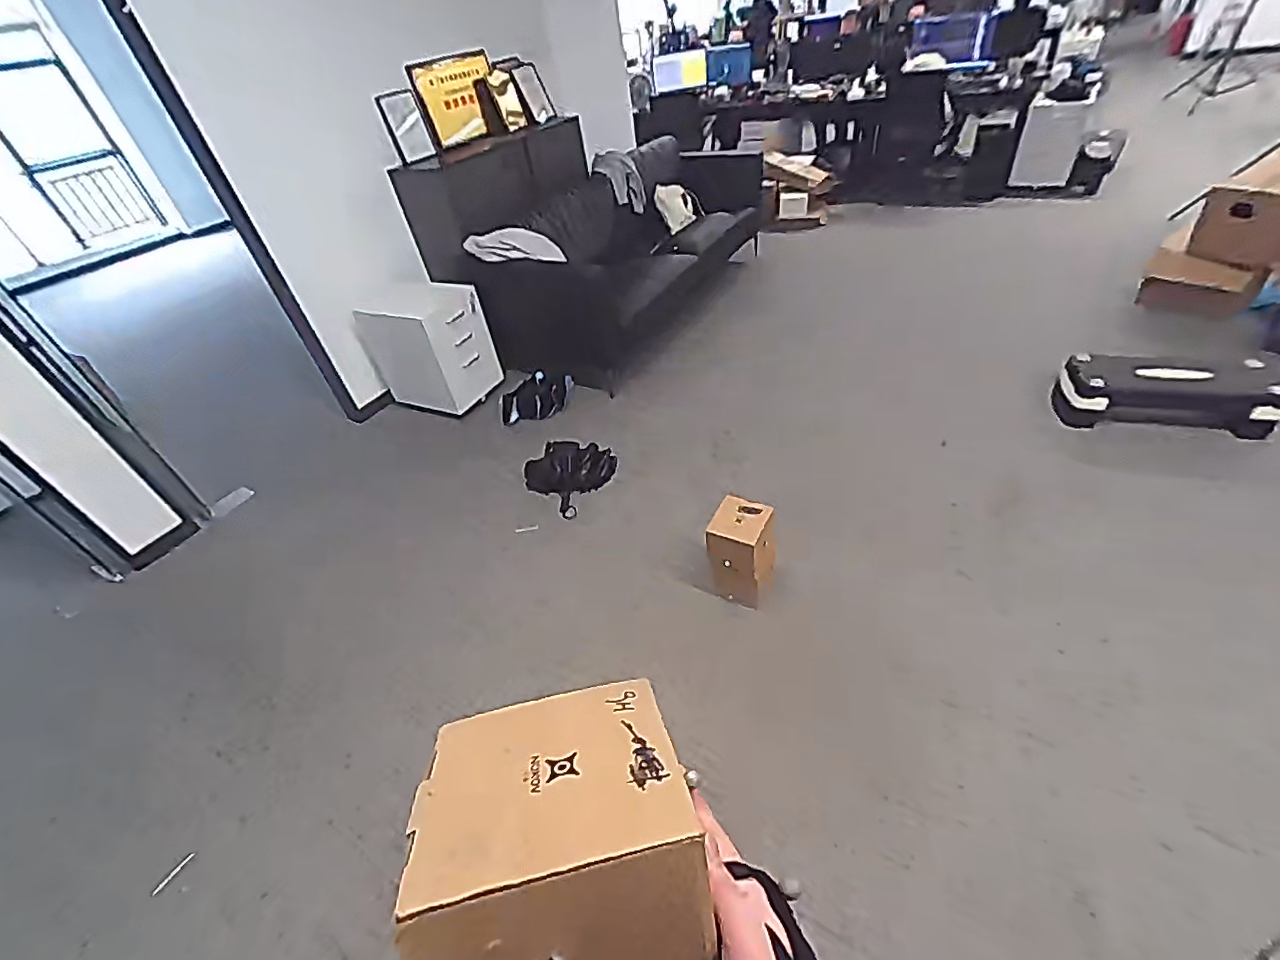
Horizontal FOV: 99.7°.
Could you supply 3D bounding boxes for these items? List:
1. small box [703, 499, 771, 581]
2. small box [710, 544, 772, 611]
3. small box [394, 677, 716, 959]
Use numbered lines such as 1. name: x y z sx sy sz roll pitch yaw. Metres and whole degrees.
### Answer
1. small box: 0.317 0.194 1.765 0.168 0.176 0.179 15 47 28
2. small box: 0.350 0.317 1.869 0.168 0.176 0.179 13 47 27
3. small box: -0.051 0.279 0.394 0.179 0.176 0.168 -10 14 -10
